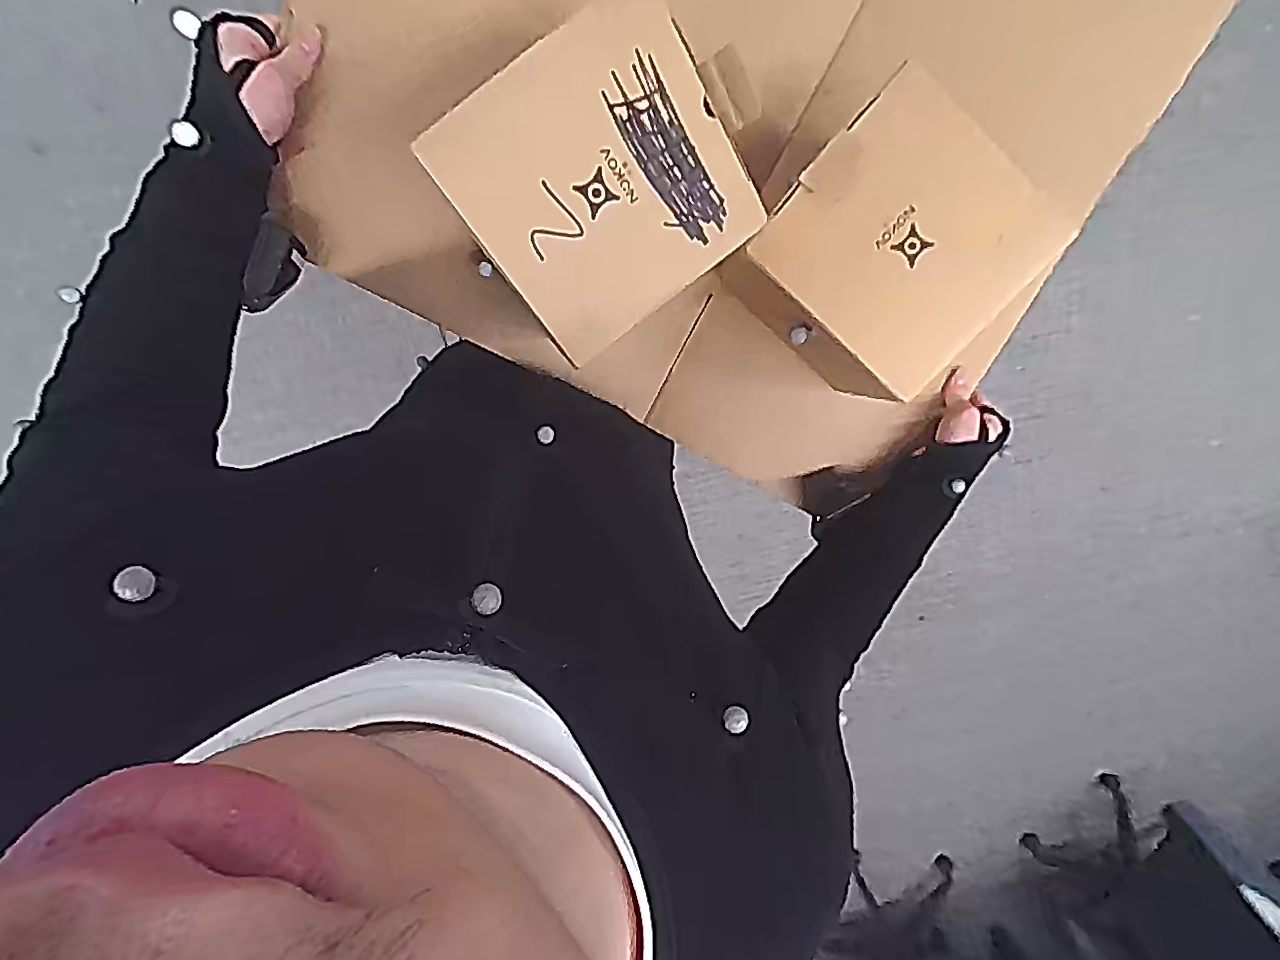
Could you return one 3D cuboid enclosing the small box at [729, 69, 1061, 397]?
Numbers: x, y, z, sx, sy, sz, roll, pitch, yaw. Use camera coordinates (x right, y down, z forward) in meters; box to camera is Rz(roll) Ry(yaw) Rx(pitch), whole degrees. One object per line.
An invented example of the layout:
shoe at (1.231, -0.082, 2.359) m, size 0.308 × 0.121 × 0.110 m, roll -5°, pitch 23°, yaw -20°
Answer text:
small box at (0.200, -0.197, 0.483) m, size 0.179 × 0.176 × 0.168 m, roll 40°, pitch 102°, yaw -5°
